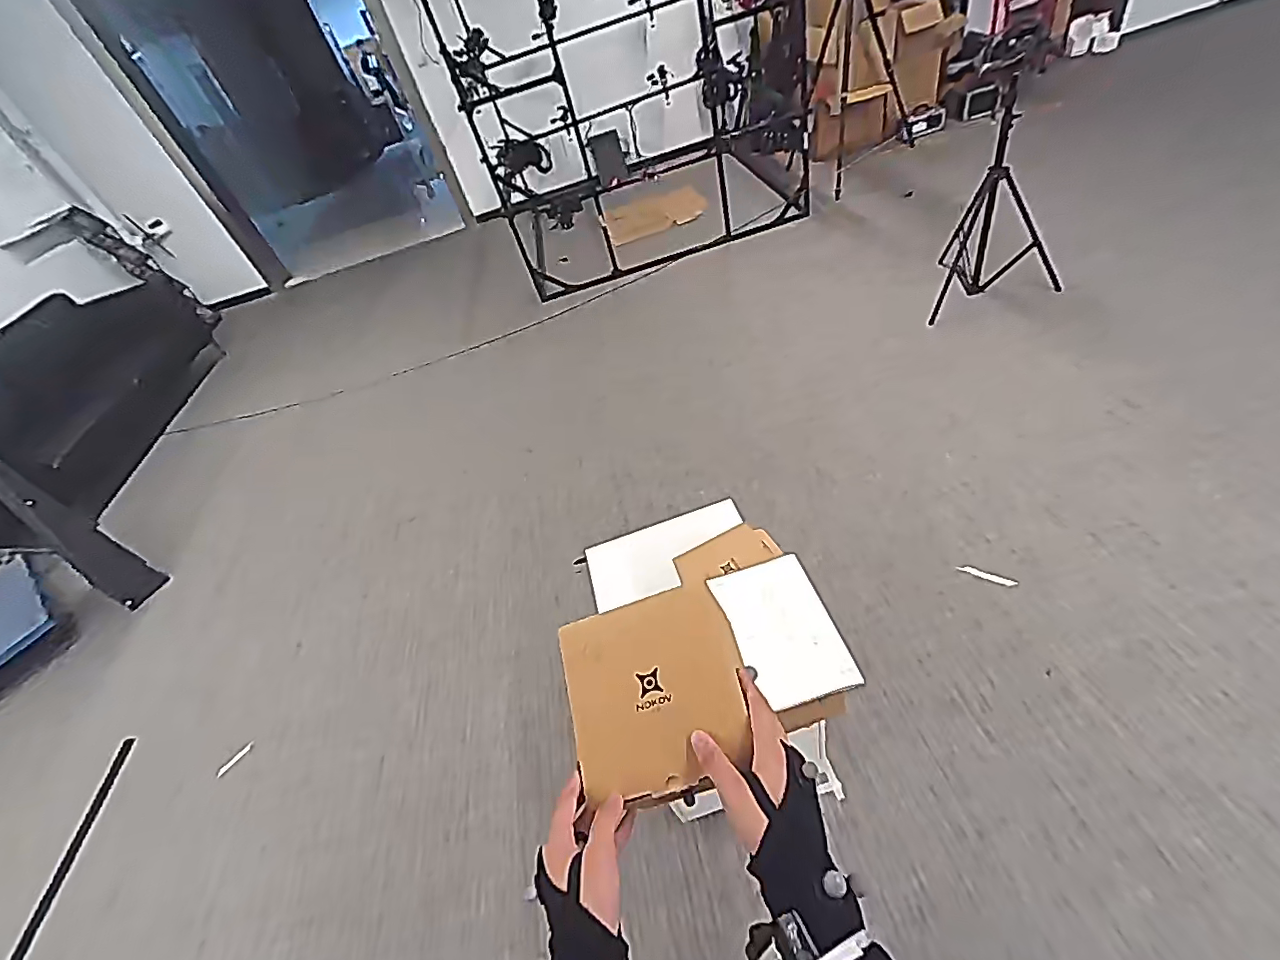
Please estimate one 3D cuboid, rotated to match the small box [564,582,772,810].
[{"bbox_3d":[0.034,0.238,0.586,0.168,0.176,0.179,-20,58,7],"label":"small box"}]
